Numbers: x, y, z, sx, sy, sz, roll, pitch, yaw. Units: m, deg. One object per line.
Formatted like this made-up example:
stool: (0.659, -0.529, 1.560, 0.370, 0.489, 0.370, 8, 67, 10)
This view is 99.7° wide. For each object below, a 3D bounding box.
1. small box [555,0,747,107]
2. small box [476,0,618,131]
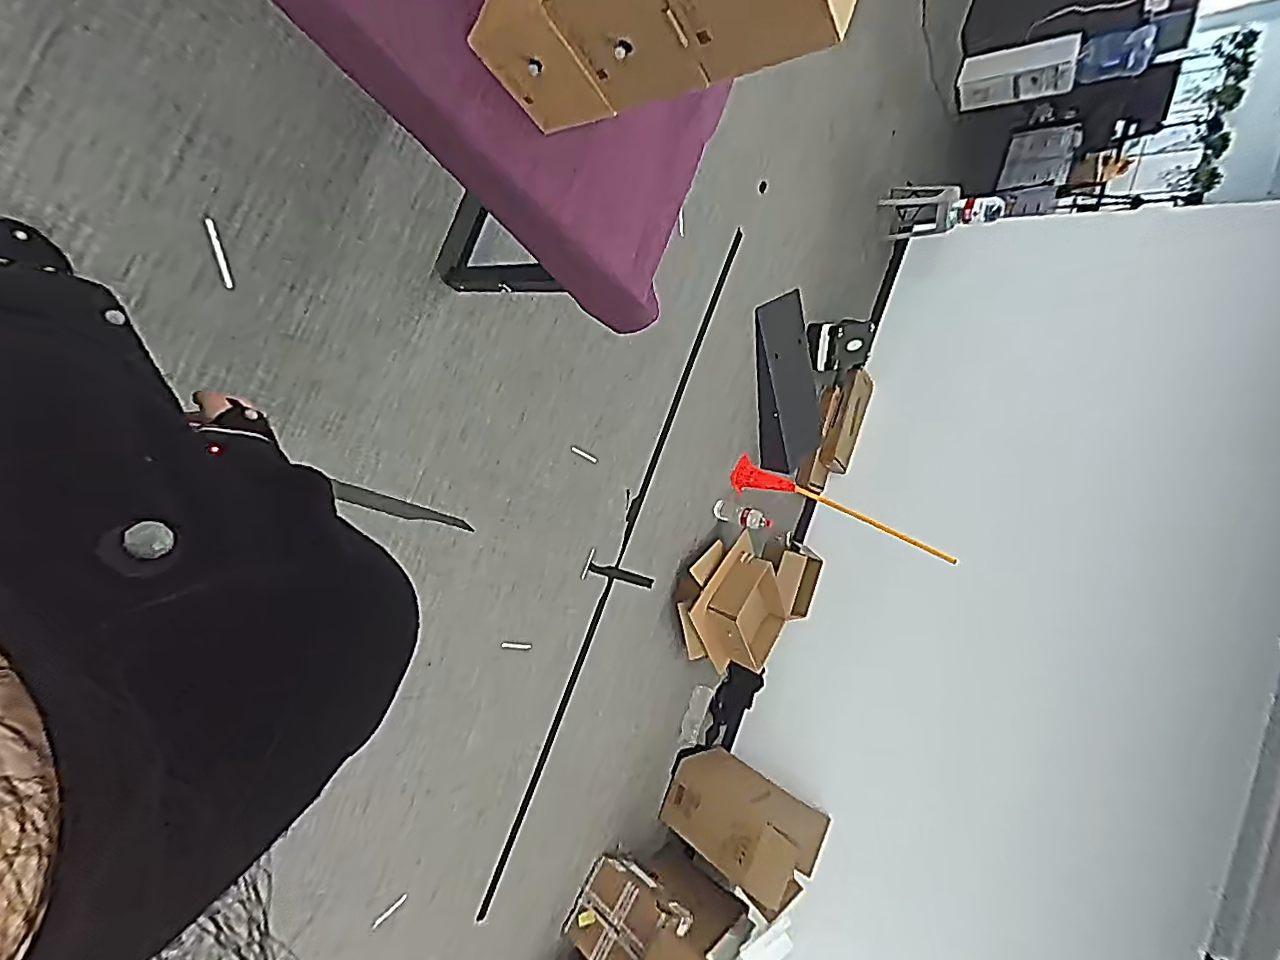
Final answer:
small box: (0.014, -0.624, 0.692, 0.168, 0.176, 0.179, 30, 79, -51)
small box: (-0.112, -0.656, 0.792, 0.168, 0.176, 0.179, 28, 80, -51)
